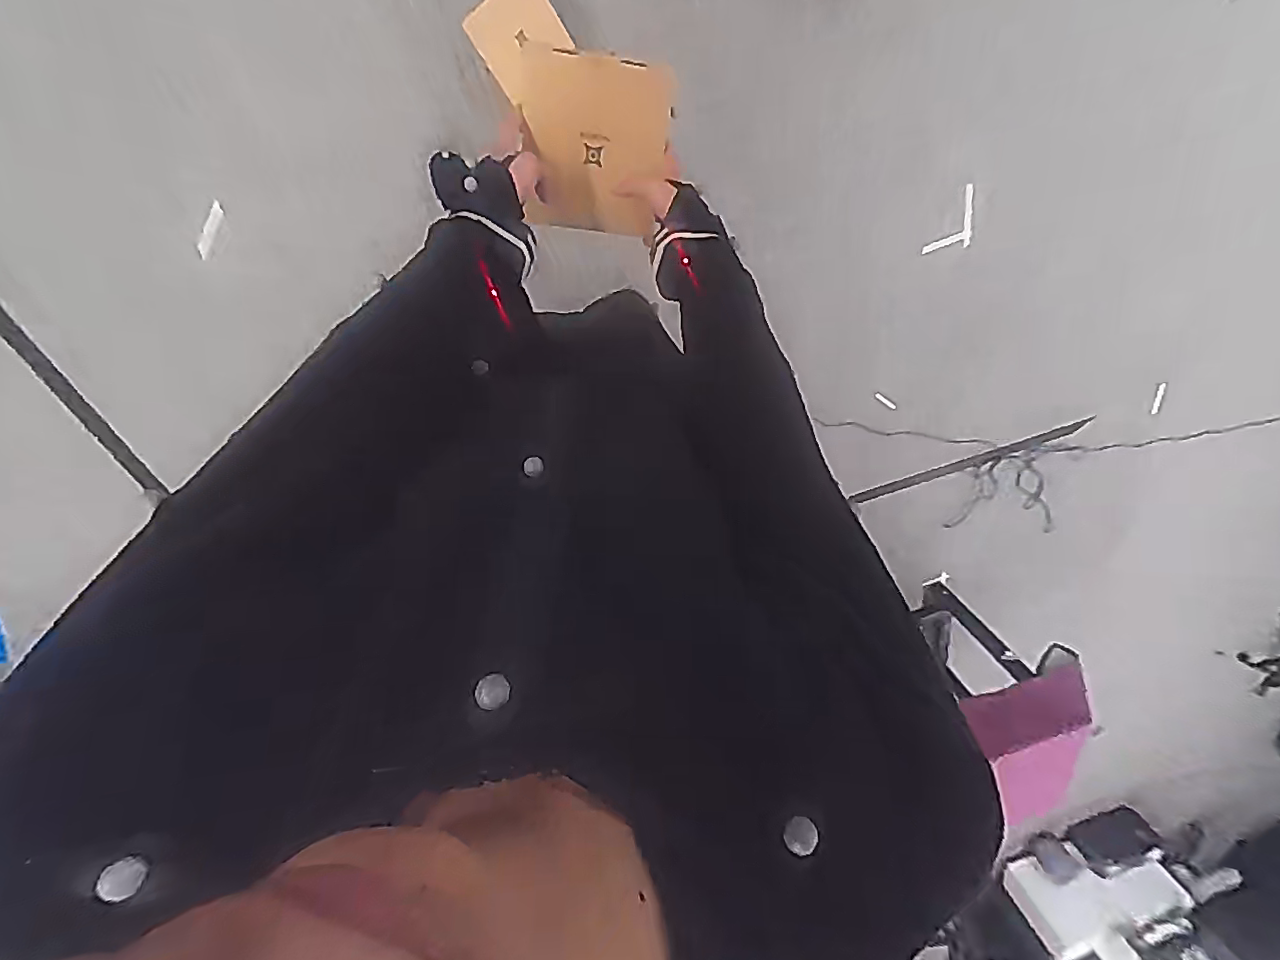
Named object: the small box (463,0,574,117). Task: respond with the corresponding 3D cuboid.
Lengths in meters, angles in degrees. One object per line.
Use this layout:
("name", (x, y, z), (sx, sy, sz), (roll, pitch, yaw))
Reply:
("small box", (-0.241, -0.885, 1.118), (0.168, 0.176, 0.179), (-35, 122, 8))

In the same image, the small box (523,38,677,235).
("small box", (-0.055, -0.430, 0.681), (0.168, 0.176, 0.179), (3, 126, -7))
